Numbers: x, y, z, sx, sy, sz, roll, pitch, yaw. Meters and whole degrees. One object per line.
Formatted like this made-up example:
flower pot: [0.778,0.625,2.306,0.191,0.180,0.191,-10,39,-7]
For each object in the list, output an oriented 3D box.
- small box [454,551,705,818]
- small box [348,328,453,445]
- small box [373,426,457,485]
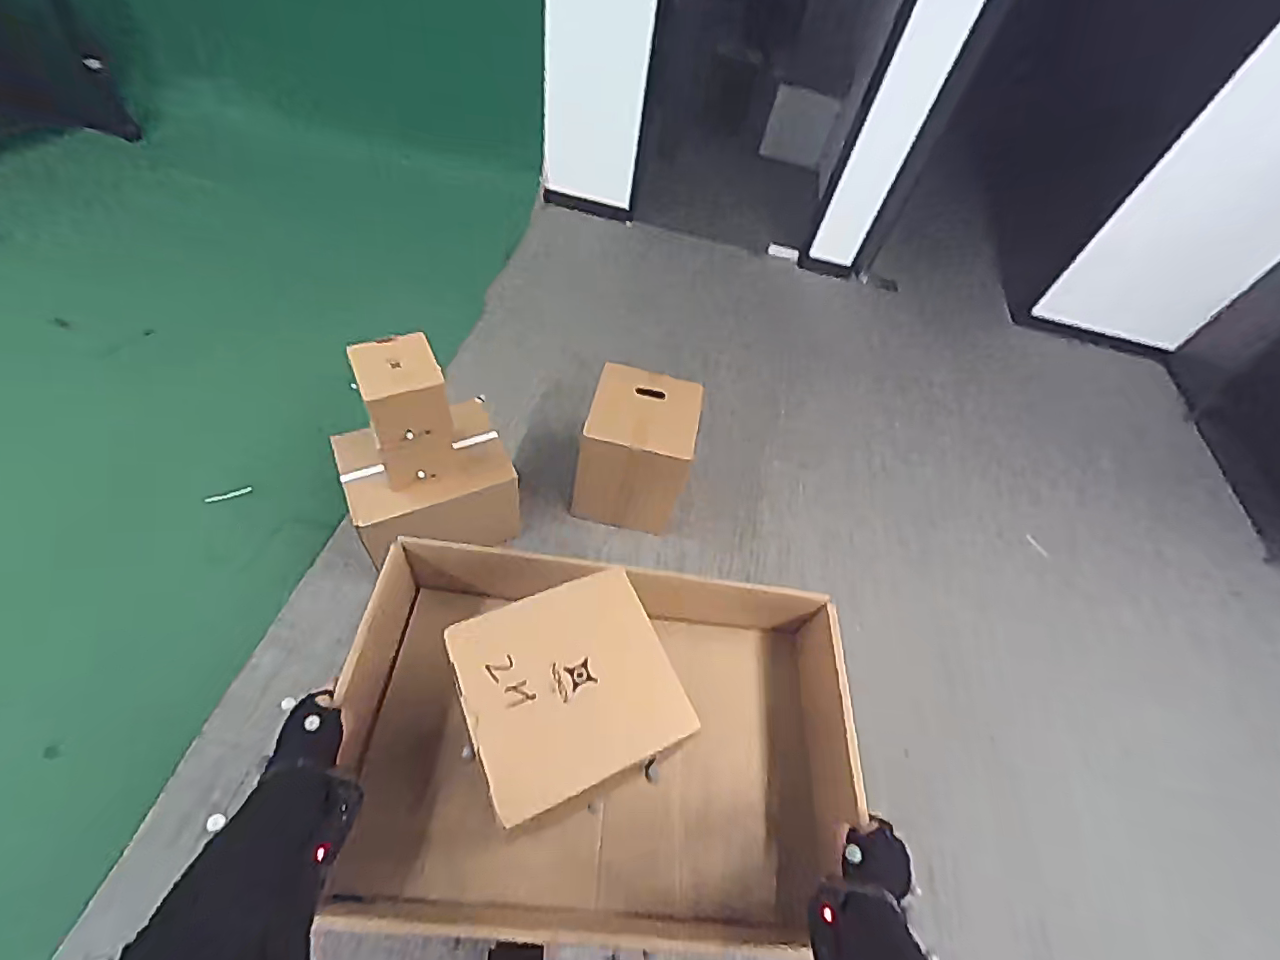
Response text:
small box: [-0.067,0.199,0.526,0.179,0.176,0.168,-17,58,-22]
small box: [-0.536,-0.210,1.221,0.168,0.176,0.179,-19,60,-22]
small box: [-0.567,-0.117,1.352,0.168,0.176,0.179,-16,59,-21]
